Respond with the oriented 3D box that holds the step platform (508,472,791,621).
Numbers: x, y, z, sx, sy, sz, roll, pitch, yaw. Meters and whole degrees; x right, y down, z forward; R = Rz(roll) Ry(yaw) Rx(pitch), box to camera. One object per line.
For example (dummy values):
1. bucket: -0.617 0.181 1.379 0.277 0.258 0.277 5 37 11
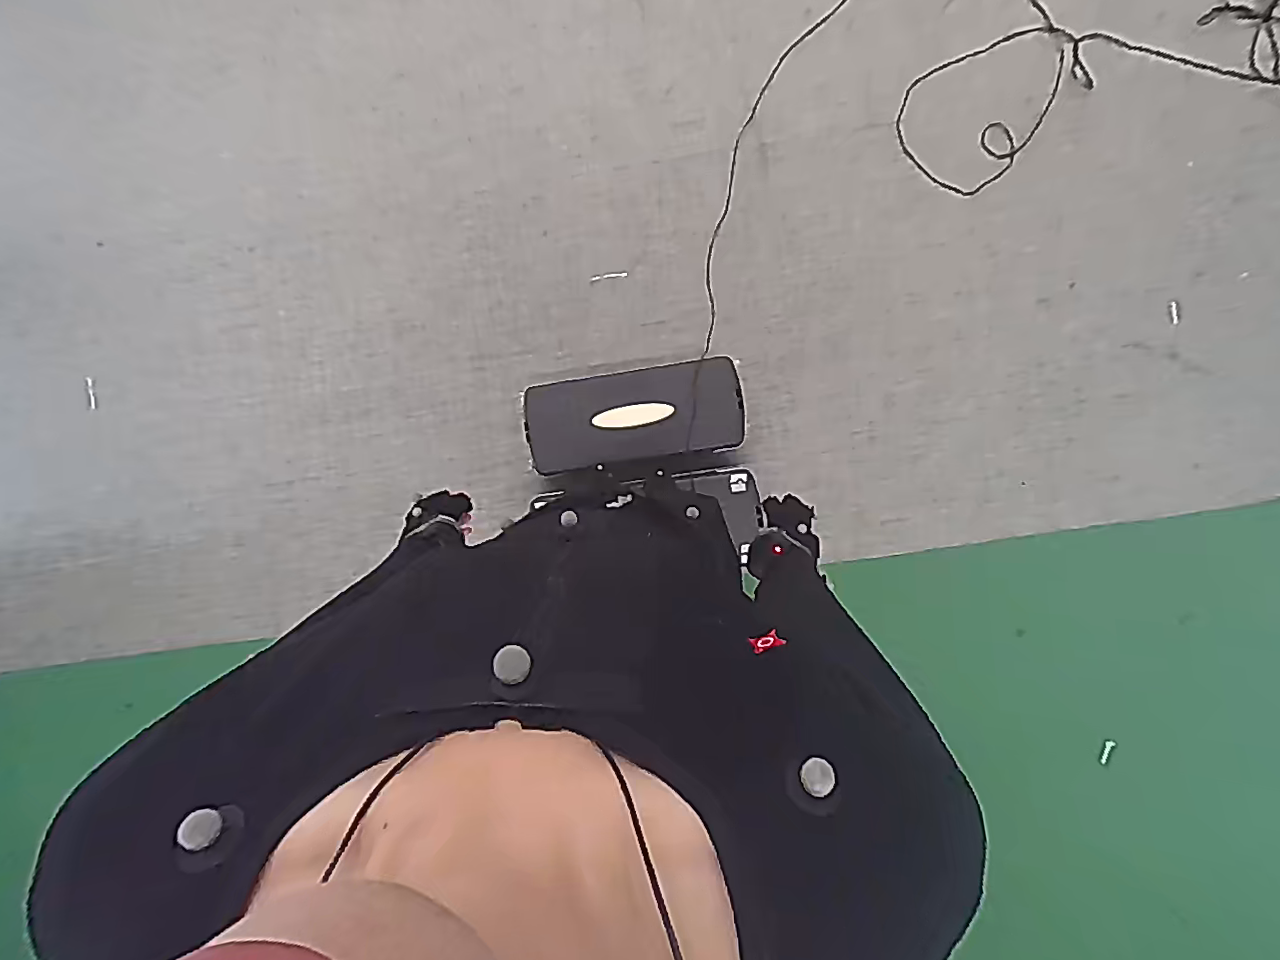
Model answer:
1. step platform: 0.021 0.165 1.397 0.684 0.204 0.286 -8 89 1
